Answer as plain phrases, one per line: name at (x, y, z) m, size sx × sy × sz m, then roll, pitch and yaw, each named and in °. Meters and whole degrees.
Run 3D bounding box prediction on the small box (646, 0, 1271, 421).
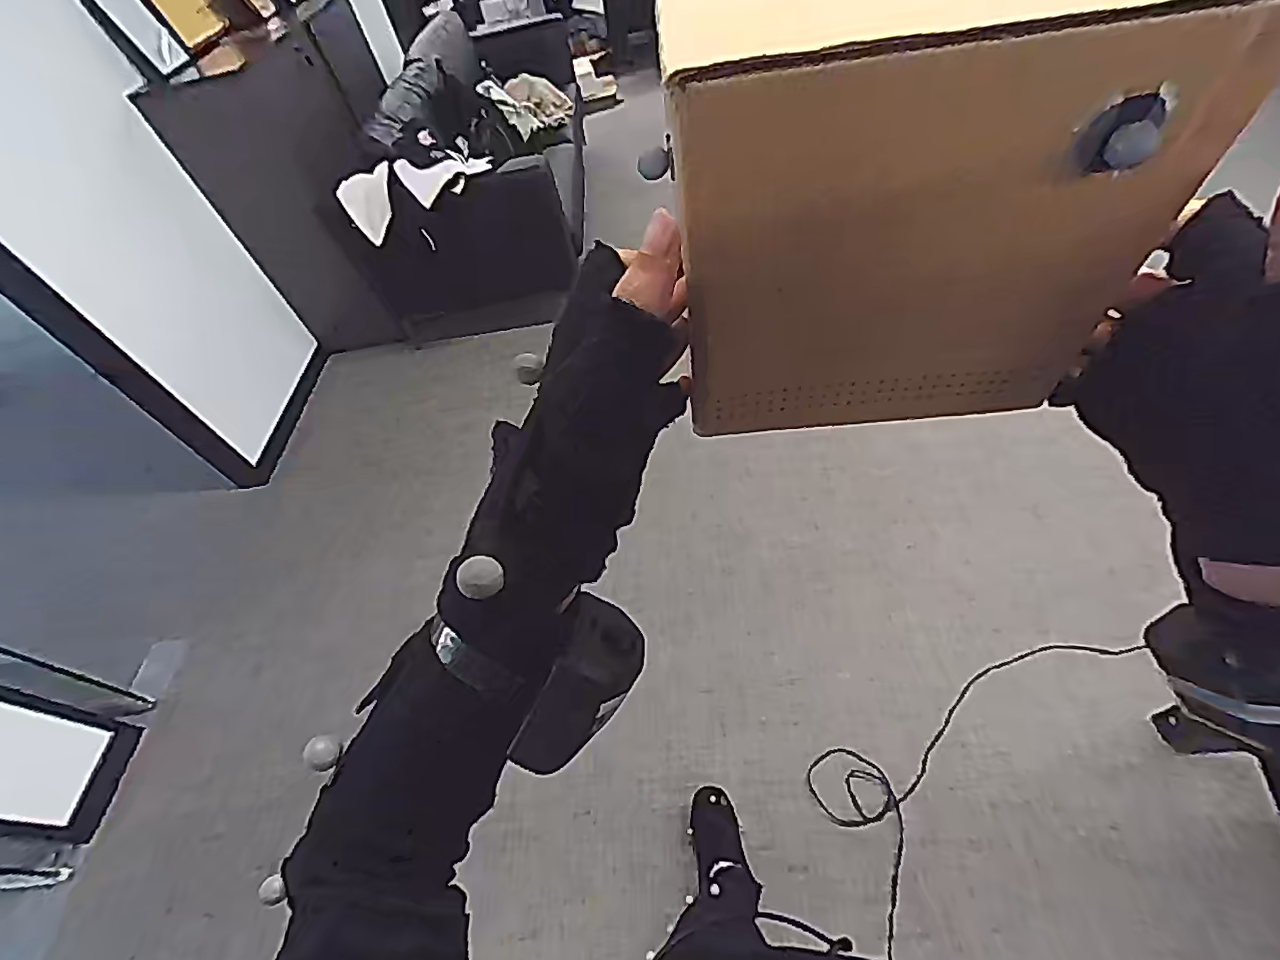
small box at (0.100, -0.143, 0.265) m, size 0.179 × 0.176 × 0.168 m, roll -4°, pitch 56°, yaw 5°
